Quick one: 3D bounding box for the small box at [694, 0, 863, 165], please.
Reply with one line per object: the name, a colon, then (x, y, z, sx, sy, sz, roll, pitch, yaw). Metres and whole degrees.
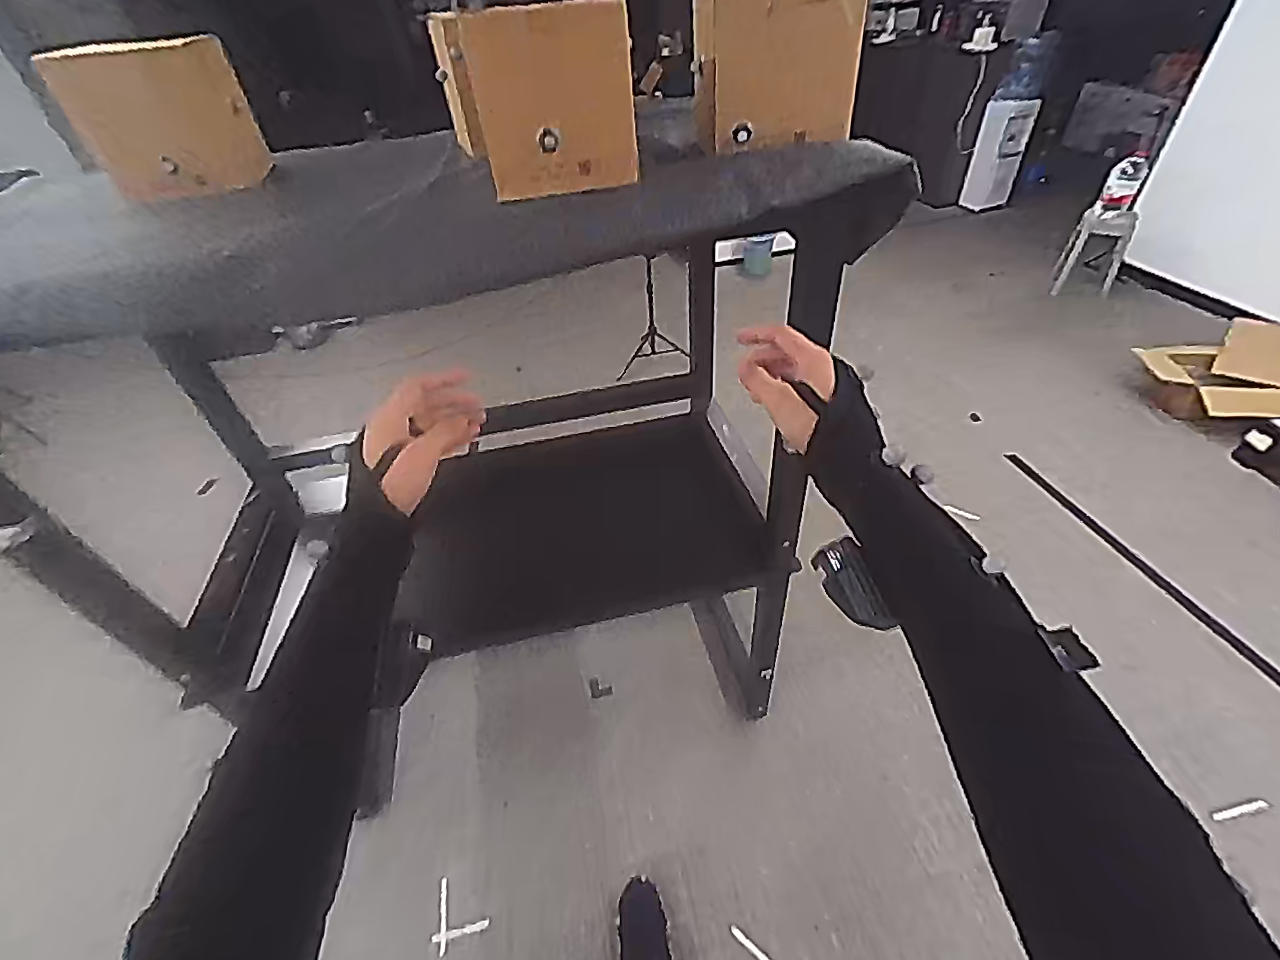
small box: (0.162, -0.505, 0.674, 0.168, 0.176, 0.179, -6, 40, 1)

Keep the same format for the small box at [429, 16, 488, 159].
small box: (-0.214, -0.614, 0.841, 0.168, 0.176, 0.179, -18, 43, -13)

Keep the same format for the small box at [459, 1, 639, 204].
small box: (-0.101, -0.434, 0.628, 0.168, 0.176, 0.179, -12, 41, -6)
